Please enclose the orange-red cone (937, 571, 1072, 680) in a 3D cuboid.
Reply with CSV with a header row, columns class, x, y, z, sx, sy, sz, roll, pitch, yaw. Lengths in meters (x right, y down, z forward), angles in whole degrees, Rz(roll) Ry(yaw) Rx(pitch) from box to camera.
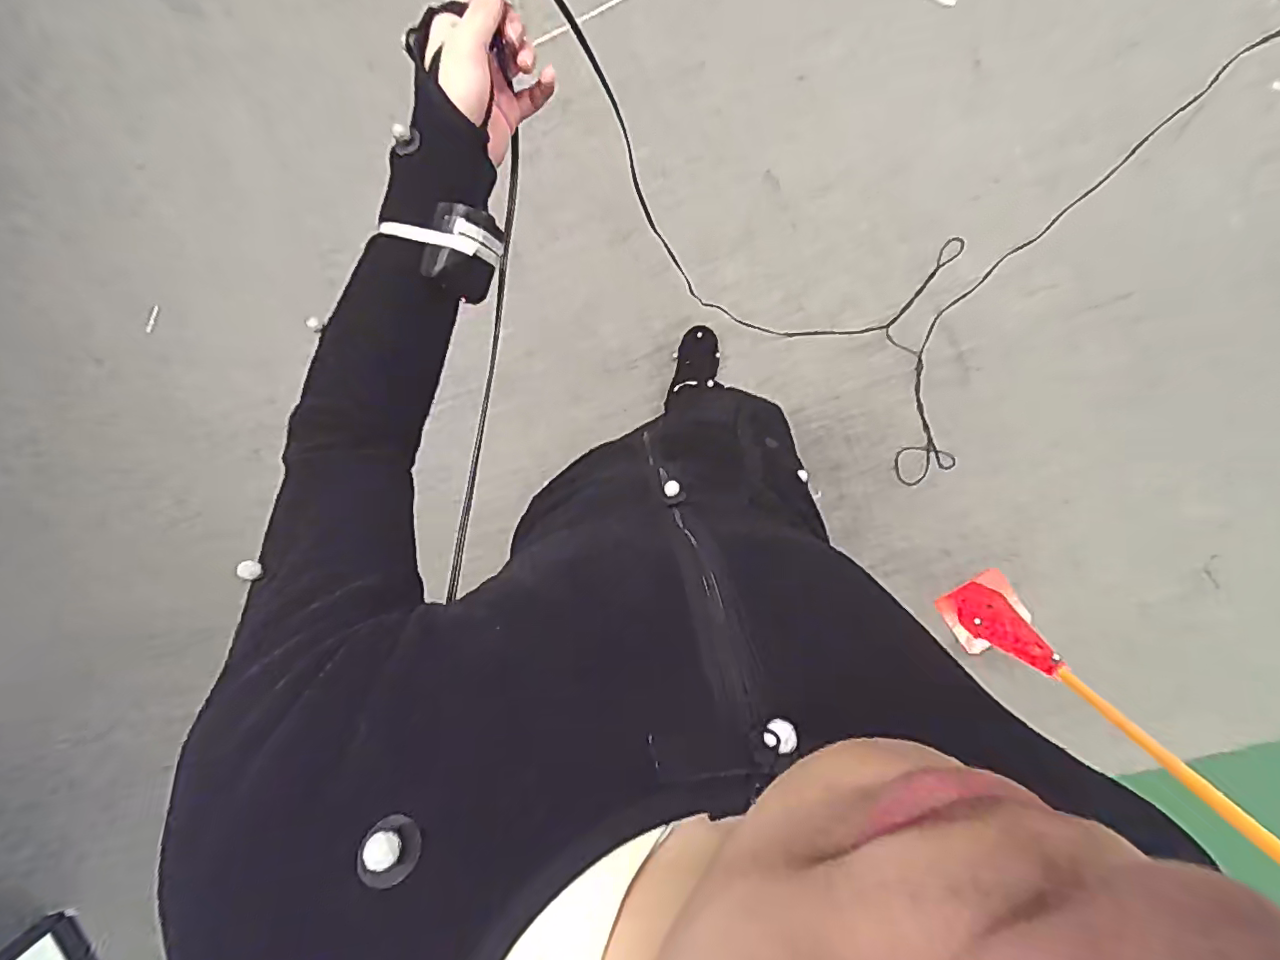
class,x,y,z,sx,sy,sz,roll,pitch,yaw
orange-red cone,0.966,0.404,1.384,0.199,0.360,0.198,-34,95,9
